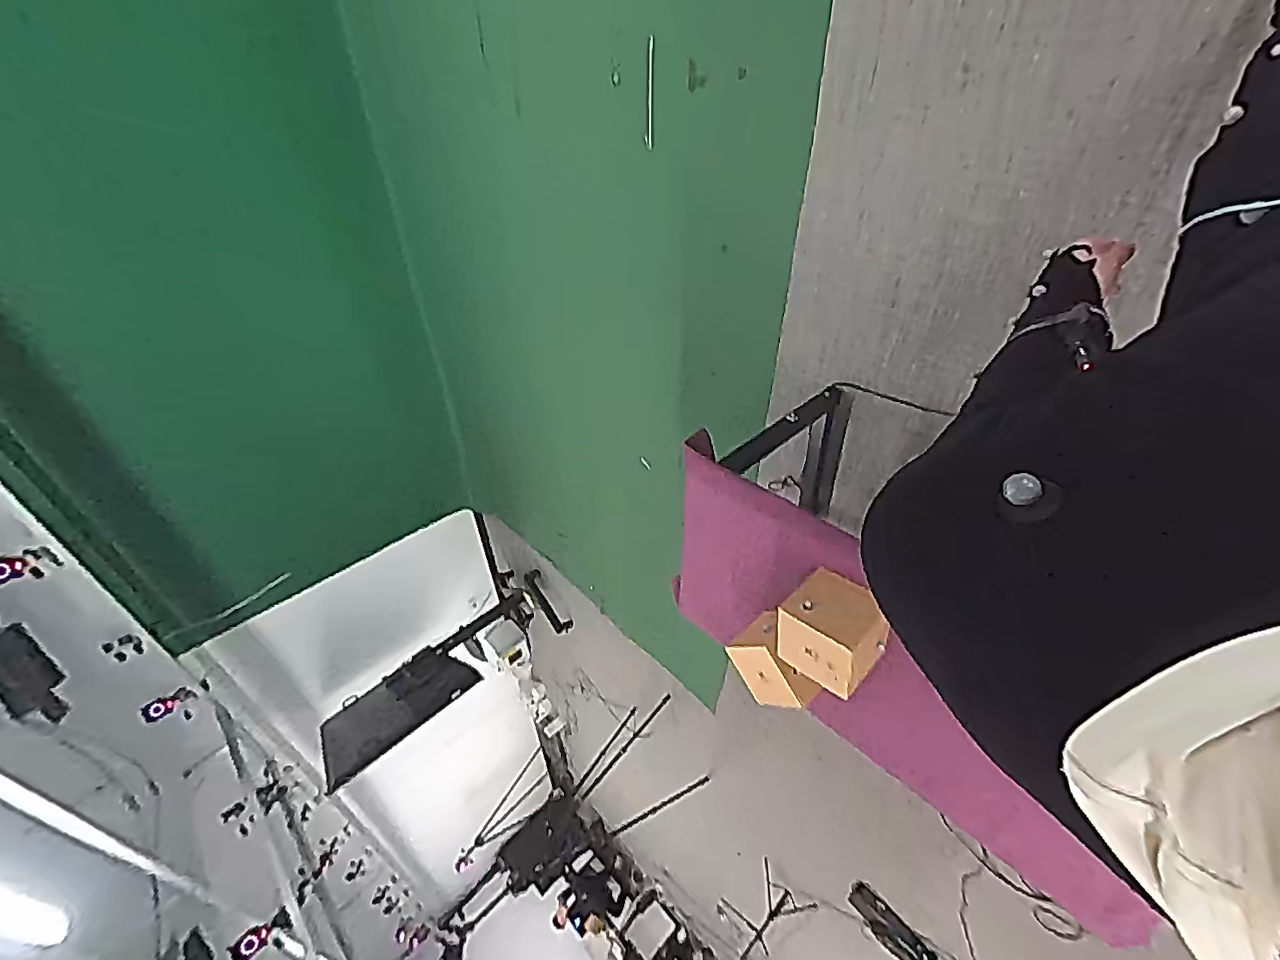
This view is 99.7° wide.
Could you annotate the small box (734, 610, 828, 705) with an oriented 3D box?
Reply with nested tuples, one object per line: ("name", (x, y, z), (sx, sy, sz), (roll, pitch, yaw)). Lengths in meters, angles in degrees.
("small box", (0.382, 0.445, 1.386), (0.179, 0.176, 0.168), (58, 148, 0))

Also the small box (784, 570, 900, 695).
("small box", (0.441, 0.325, 1.193), (0.179, 0.176, 0.168), (26, 138, 40))
